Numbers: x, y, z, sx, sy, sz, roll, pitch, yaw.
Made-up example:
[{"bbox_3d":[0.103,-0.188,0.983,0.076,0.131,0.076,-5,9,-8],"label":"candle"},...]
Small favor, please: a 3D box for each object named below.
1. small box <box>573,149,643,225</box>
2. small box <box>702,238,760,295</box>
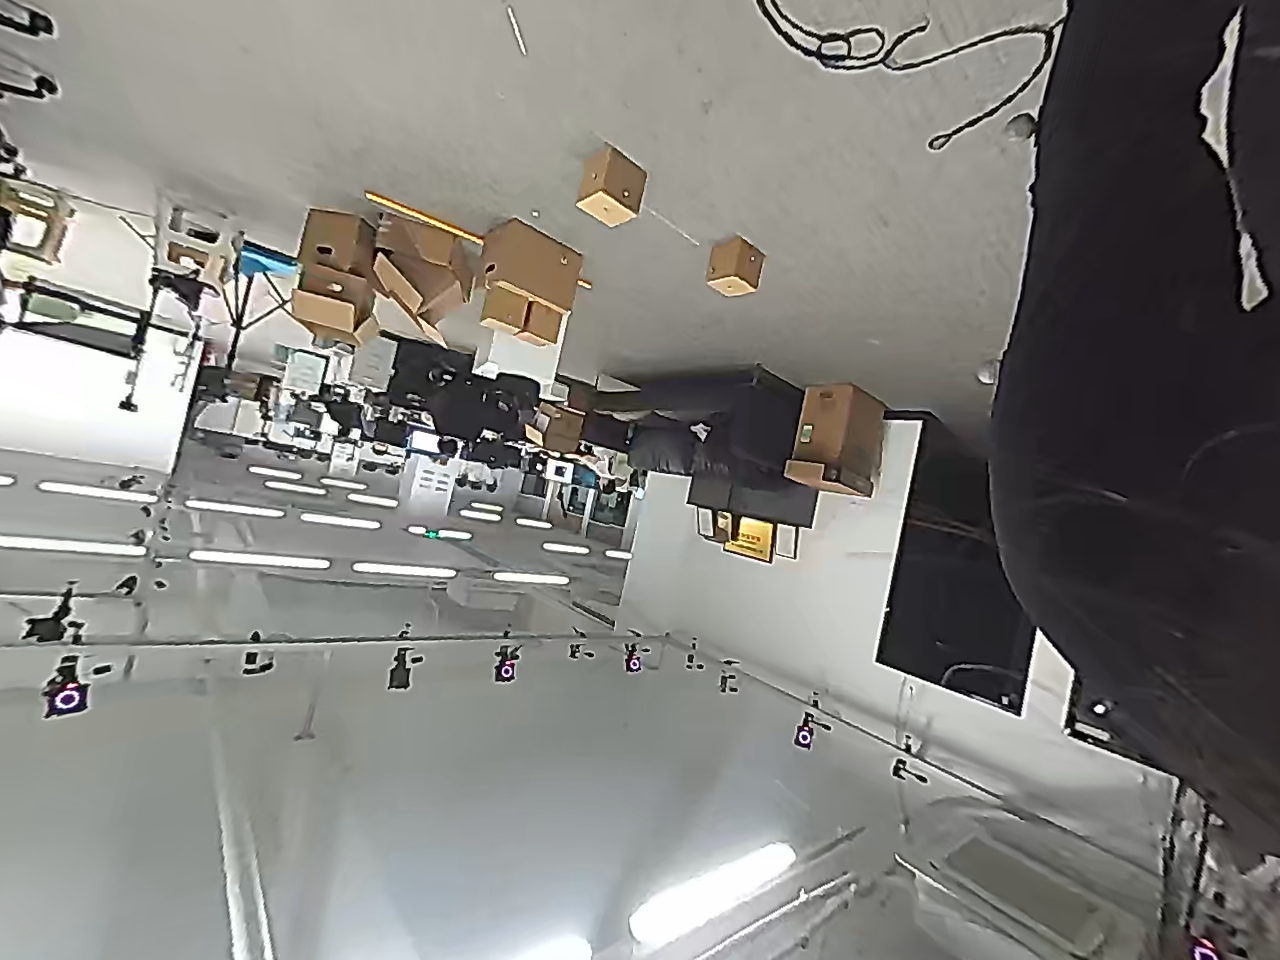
[{"bbox_3d":[-0.115,-1.064,1.961,0.179,0.176,0.168,13,178,-40],"label":"small box"},{"bbox_3d":[0.404,-0.942,2.391,0.168,0.176,0.179,13,178,-40],"label":"small box"}]
